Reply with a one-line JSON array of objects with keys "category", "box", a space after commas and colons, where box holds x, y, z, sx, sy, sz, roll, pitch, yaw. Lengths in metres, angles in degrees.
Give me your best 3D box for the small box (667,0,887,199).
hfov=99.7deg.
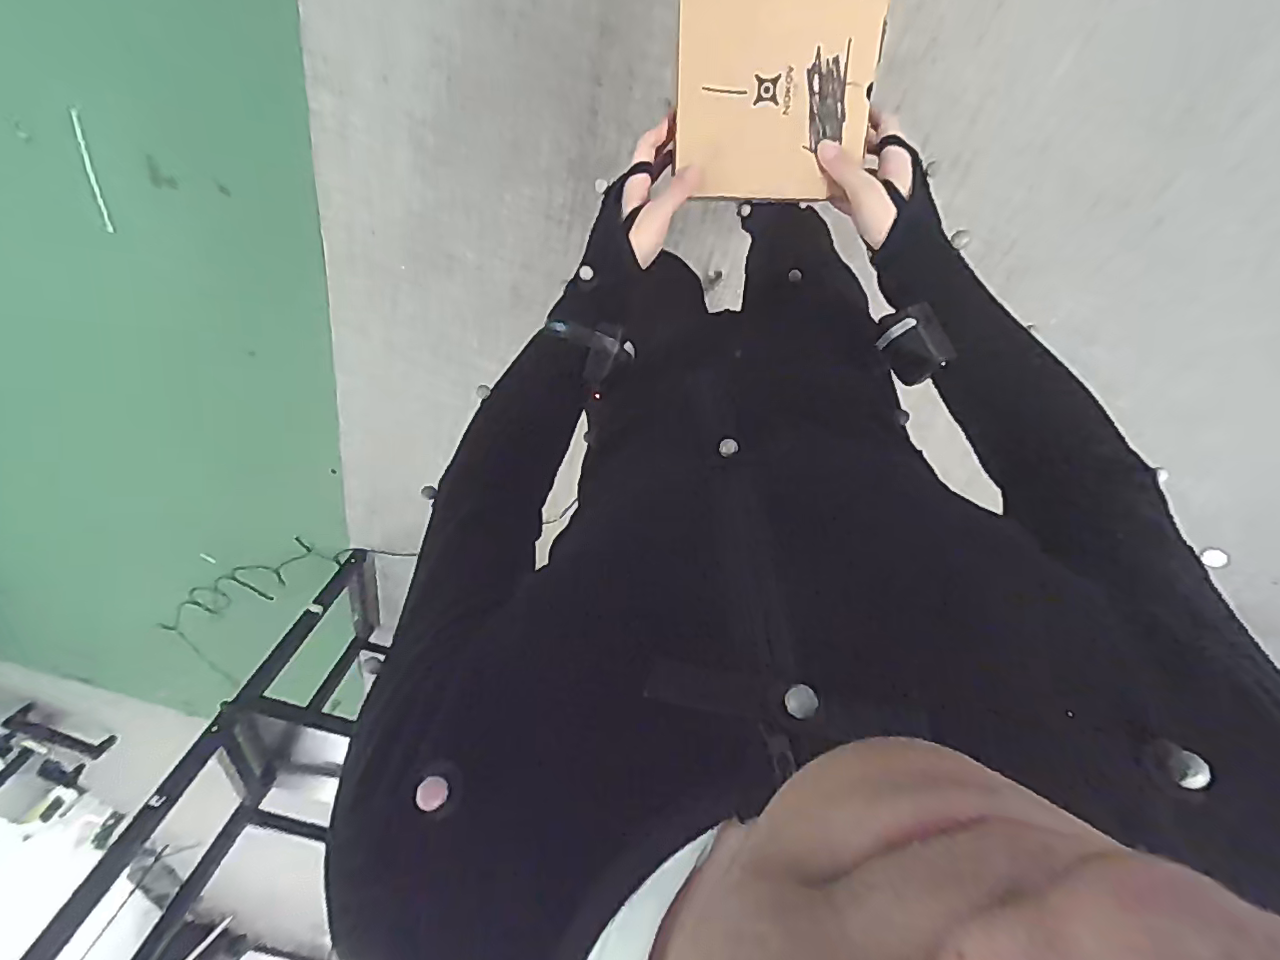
[{"category": "small box", "box": [0.119, -0.382, 0.548, 0.179, 0.176, 0.168, 2, 116, 2]}]
